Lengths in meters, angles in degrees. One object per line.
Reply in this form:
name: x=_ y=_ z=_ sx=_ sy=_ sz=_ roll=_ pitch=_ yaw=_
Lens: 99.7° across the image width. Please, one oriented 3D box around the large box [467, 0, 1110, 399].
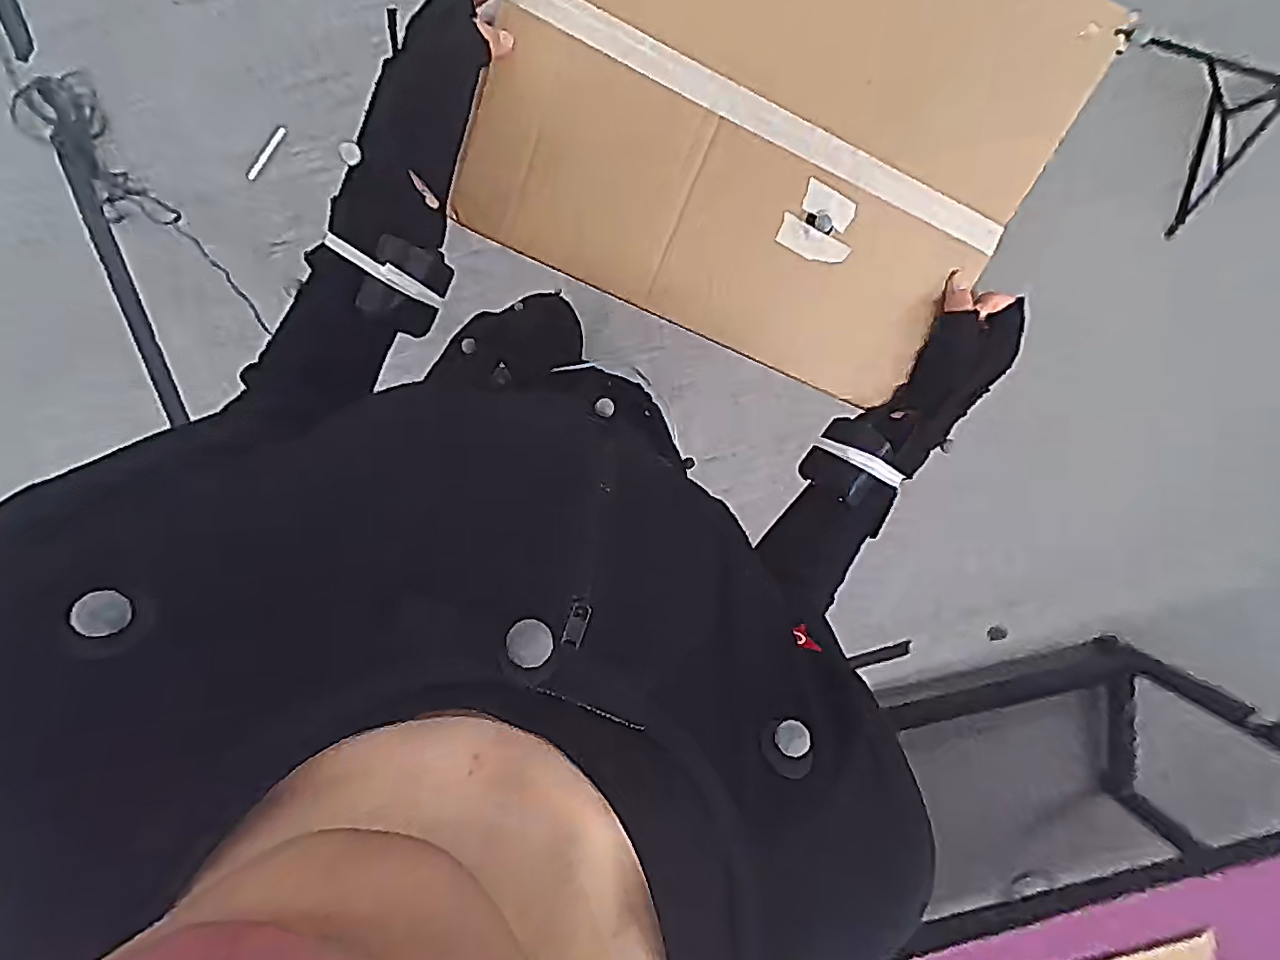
large box: x=0.096 y=-0.328 z=0.545 sx=0.408 sy=0.320 sz=0.320 roll=22 pitch=112 yaw=-10
